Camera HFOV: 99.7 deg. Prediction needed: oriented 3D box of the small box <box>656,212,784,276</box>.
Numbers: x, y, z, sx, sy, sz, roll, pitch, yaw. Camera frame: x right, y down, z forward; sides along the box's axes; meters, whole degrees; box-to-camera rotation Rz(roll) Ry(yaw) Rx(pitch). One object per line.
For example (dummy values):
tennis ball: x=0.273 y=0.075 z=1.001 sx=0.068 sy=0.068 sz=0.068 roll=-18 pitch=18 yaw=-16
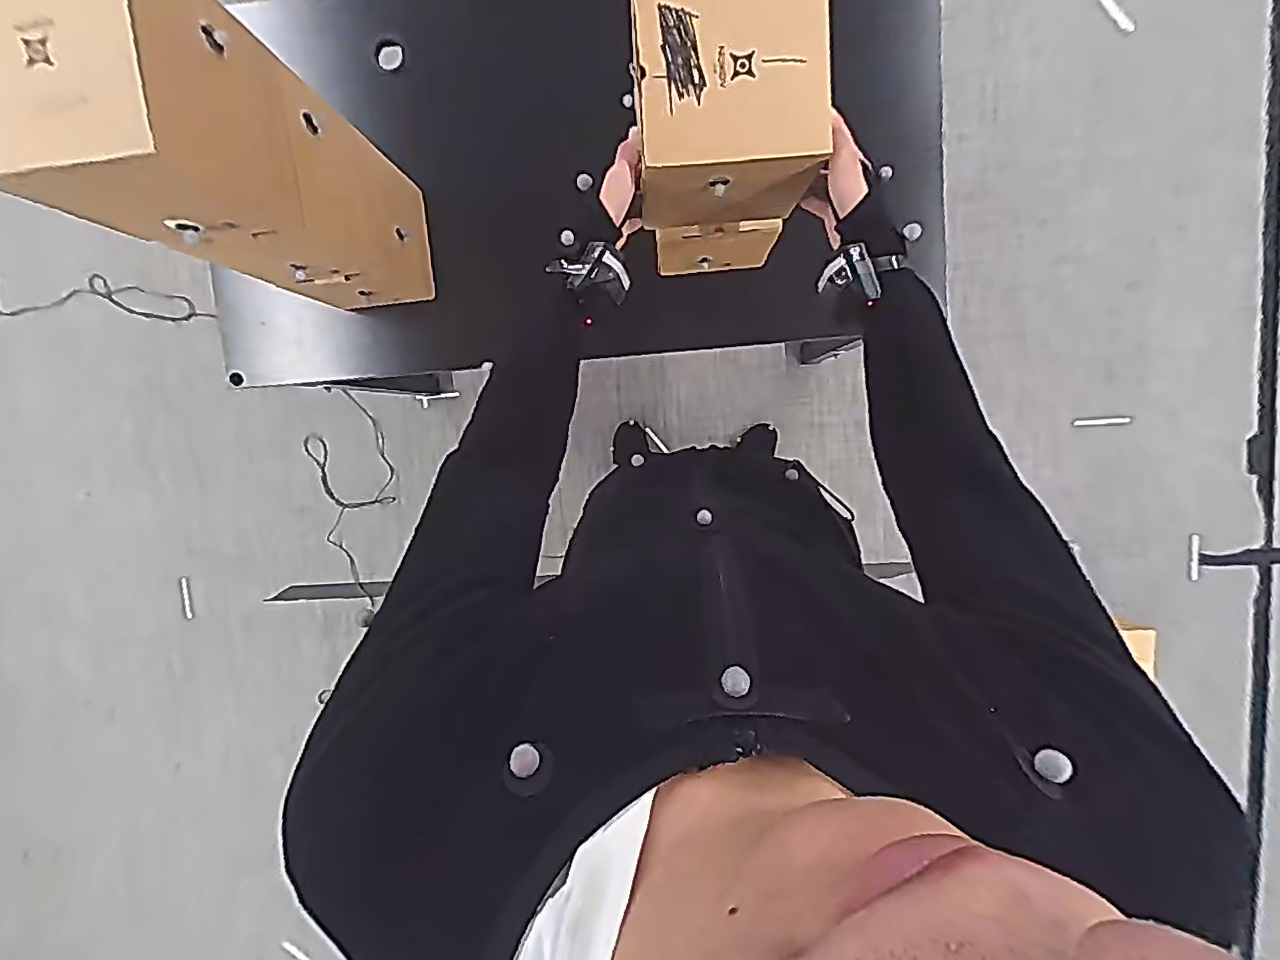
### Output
small box: x=0.103 y=-0.410 z=0.776 sx=0.168 sy=0.176 sz=0.179 roll=-4 pitch=96 yaw=4

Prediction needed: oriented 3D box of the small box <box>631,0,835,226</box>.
small box: x=0.085 y=-0.375 z=0.556 sx=0.179 sy=0.176 sz=0.168 roll=-4 pitch=97 yaw=1

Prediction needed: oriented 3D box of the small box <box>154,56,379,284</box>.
small box: x=-0.439 y=-0.350 z=0.643 sx=0.168 sy=0.176 sz=0.179 roll=-5 pitch=96 yaw=4

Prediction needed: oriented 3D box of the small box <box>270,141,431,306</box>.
small box: x=-0.431 y=-0.365 z=0.807 sx=0.168 sy=0.176 sz=0.179 roll=-6 pitch=96 yaw=3

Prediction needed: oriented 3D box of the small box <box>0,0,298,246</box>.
small box: x=-0.446 y=-0.332 z=0.481 sx=0.168 sy=0.176 sz=0.179 roll=-5 pitch=96 yaw=5
